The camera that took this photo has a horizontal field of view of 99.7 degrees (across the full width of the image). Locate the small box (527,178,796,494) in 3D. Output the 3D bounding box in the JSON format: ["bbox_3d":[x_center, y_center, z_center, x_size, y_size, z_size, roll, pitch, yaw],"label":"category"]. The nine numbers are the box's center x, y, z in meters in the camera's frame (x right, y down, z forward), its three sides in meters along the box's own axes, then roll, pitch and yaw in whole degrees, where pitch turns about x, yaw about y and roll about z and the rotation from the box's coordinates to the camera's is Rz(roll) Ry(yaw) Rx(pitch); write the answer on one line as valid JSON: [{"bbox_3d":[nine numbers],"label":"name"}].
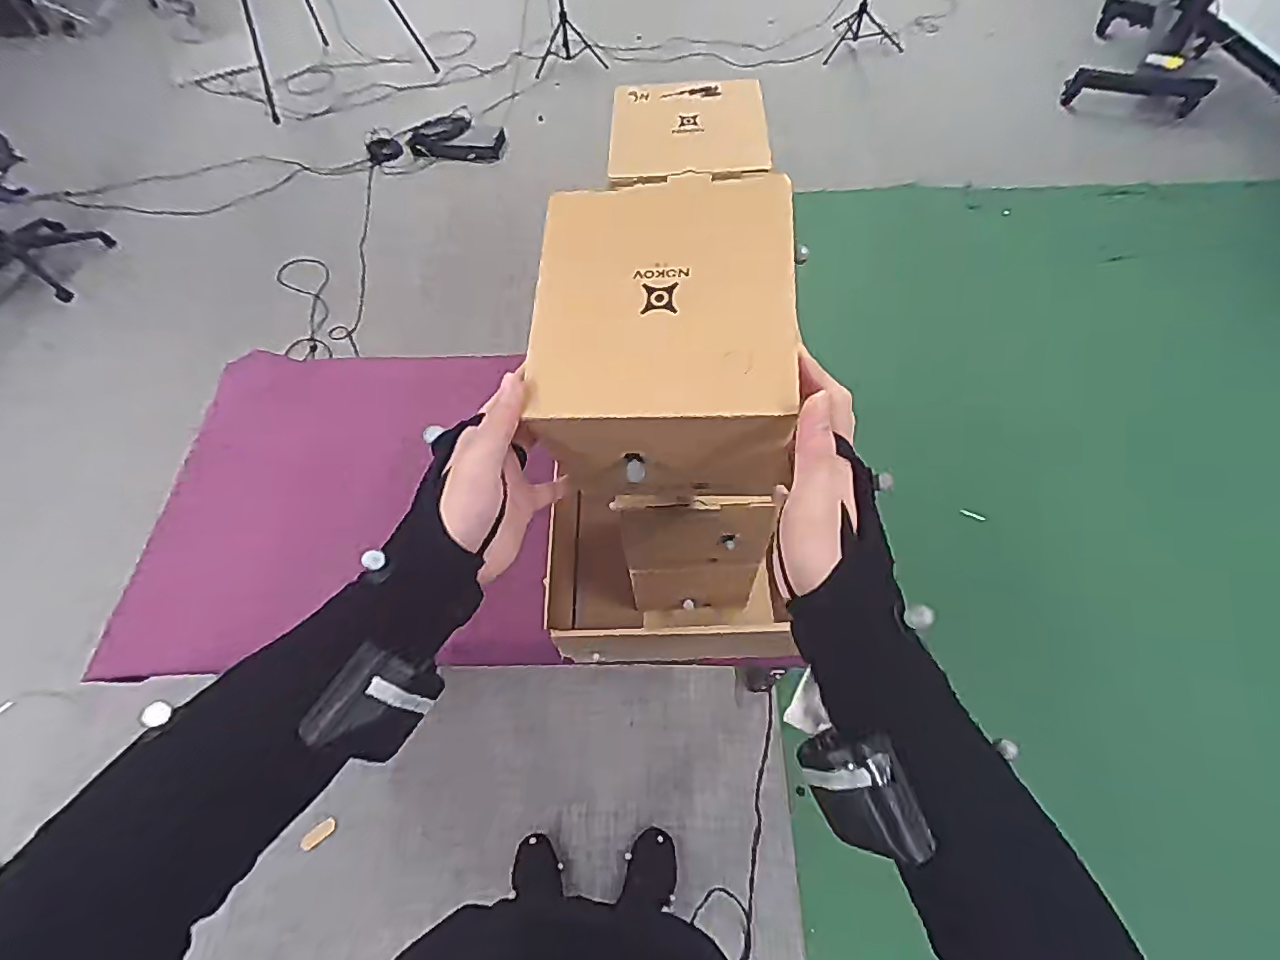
[{"bbox_3d":[0.027,-0.094,0.420,0.168,0.176,0.179,0,70,9],"label":"small box"}]

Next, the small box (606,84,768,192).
[{"bbox_3d":[0.055,-0.334,0.649,0.168,0.176,0.179,0,62,3],"label":"small box"}]

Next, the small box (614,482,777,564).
[{"bbox_3d":[0.062,-0.006,0.647,0.168,0.176,0.179,-1,59,3],"label":"small box"}]
